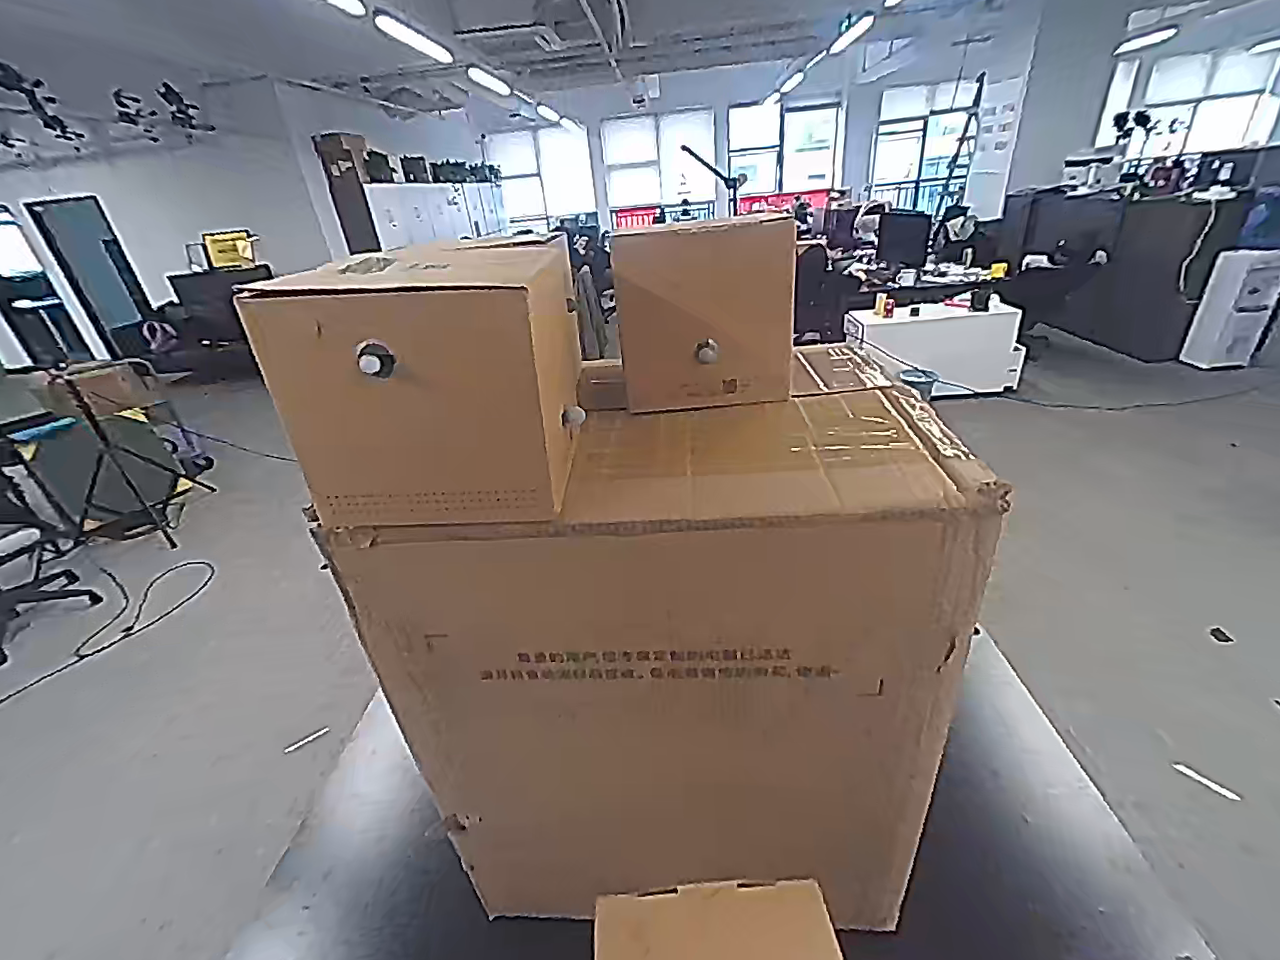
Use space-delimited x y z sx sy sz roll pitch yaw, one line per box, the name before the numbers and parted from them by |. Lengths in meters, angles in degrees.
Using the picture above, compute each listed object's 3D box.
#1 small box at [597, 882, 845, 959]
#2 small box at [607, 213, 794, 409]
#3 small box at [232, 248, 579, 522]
small box | 0.053 0.405 0.351 0.168 0.176 0.179 -1 29 -4
small box | 0.061 -0.184 0.580 0.168 0.176 0.179 -5 27 4
small box | -0.149 -0.077 0.420 0.179 0.176 0.168 -2 30 1
